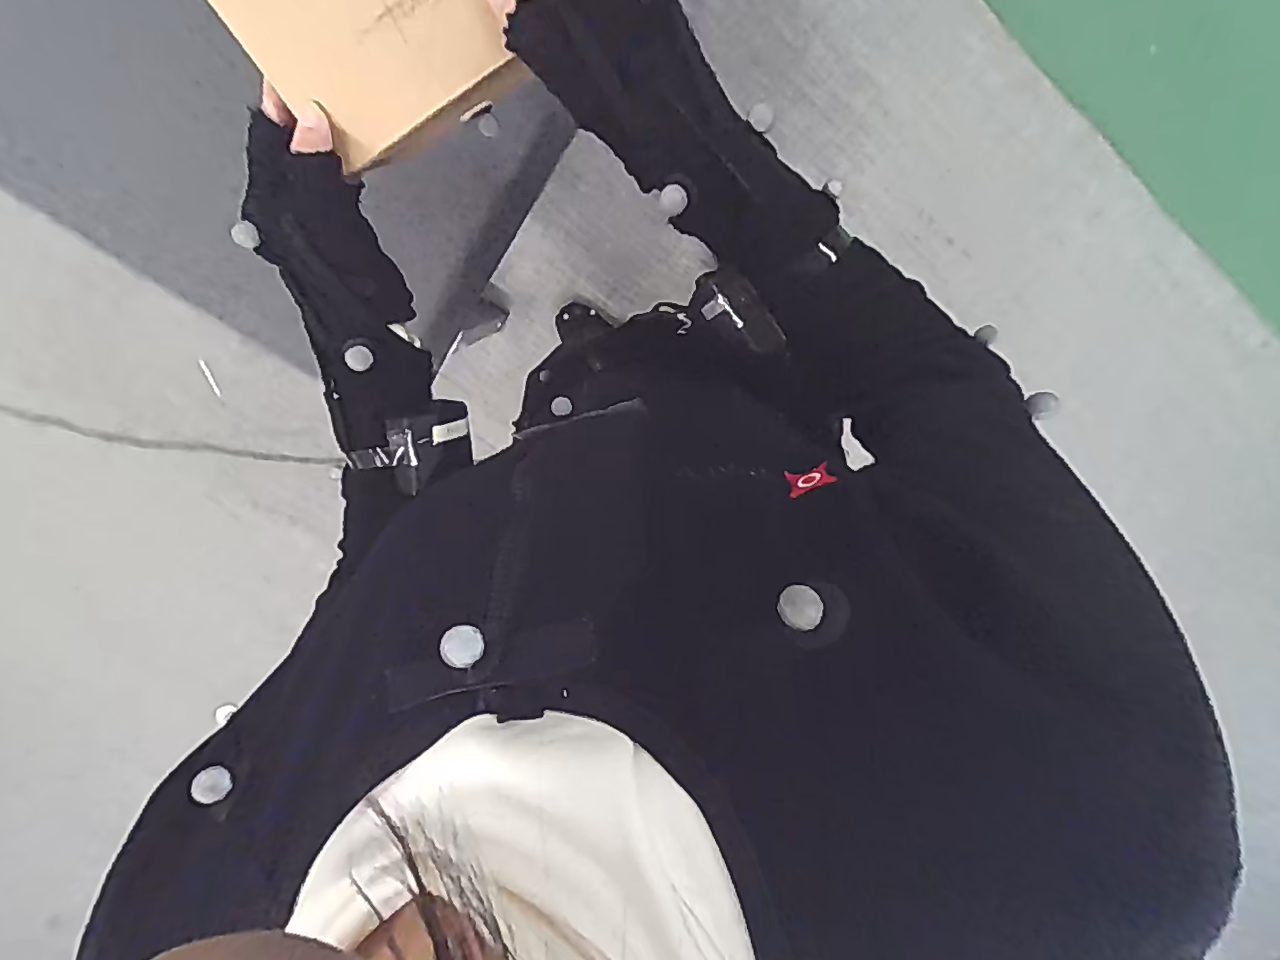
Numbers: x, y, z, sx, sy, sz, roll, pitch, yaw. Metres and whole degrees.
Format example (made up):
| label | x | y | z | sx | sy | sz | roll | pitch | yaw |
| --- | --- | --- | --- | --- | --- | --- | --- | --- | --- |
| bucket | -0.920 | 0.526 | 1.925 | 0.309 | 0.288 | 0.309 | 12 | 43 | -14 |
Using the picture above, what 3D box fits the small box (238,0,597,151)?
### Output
| label | x | y | z | sx | sy | sz | roll | pitch | yaw |
| --- | --- | --- | --- | --- | --- | --- | --- | --- | --- |
| small box | -0.138 | -0.324 | 0.312 | 0.168 | 0.176 | 0.179 | -24 | 124 | 12 |
